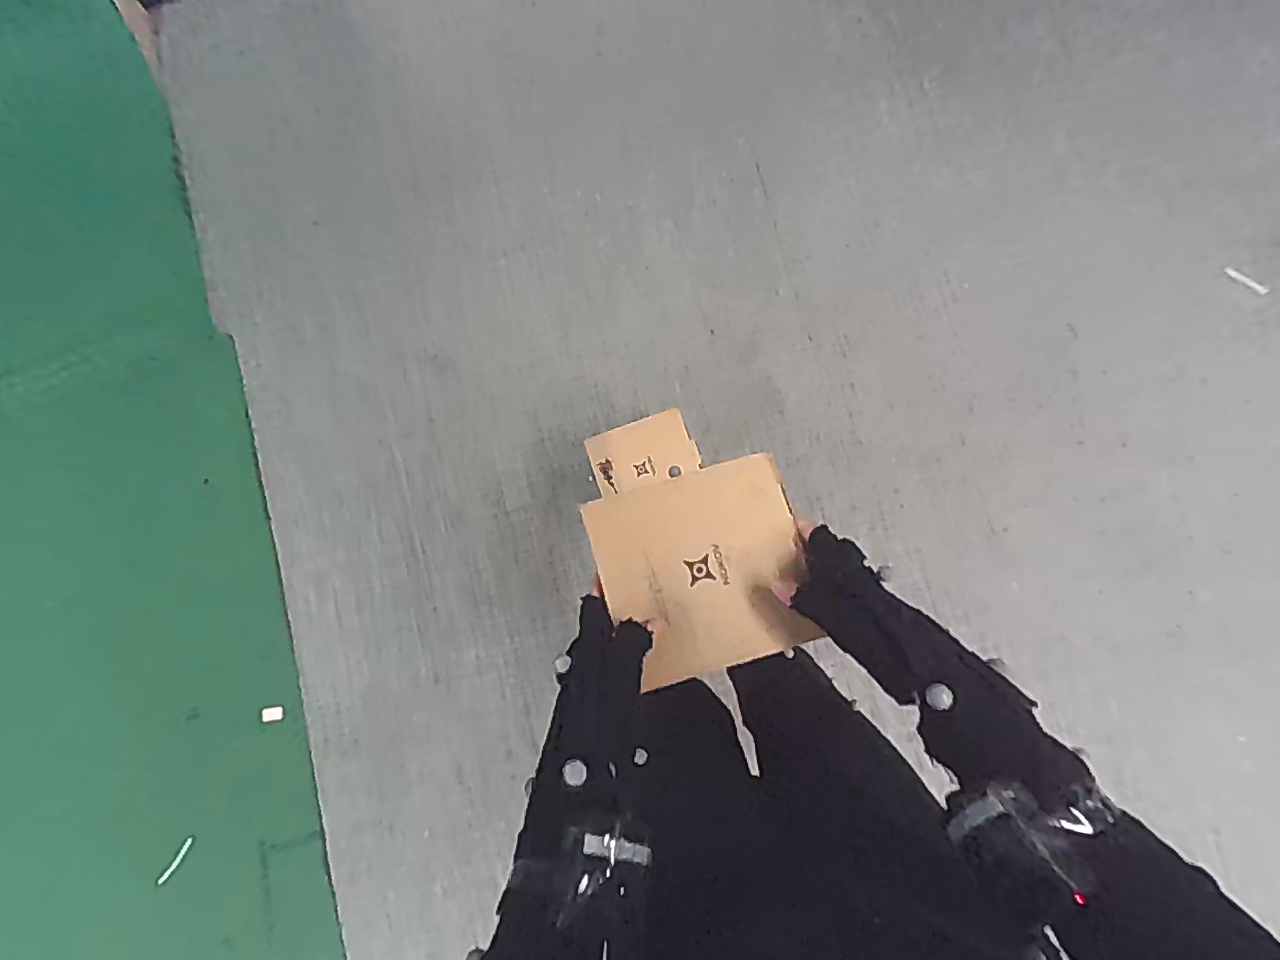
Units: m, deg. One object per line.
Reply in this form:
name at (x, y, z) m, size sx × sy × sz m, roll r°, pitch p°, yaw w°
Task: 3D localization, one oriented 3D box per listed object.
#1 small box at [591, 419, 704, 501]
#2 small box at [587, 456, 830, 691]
small box at (0.023, 0.002, 0.993) m, size 0.179 × 0.176 × 0.168 m, roll -18°, pitch 84°, yaw 1°
small box at (0.059, 0.088, 0.545) m, size 0.179 × 0.176 × 0.168 m, roll -17°, pitch 81°, yaw -1°
